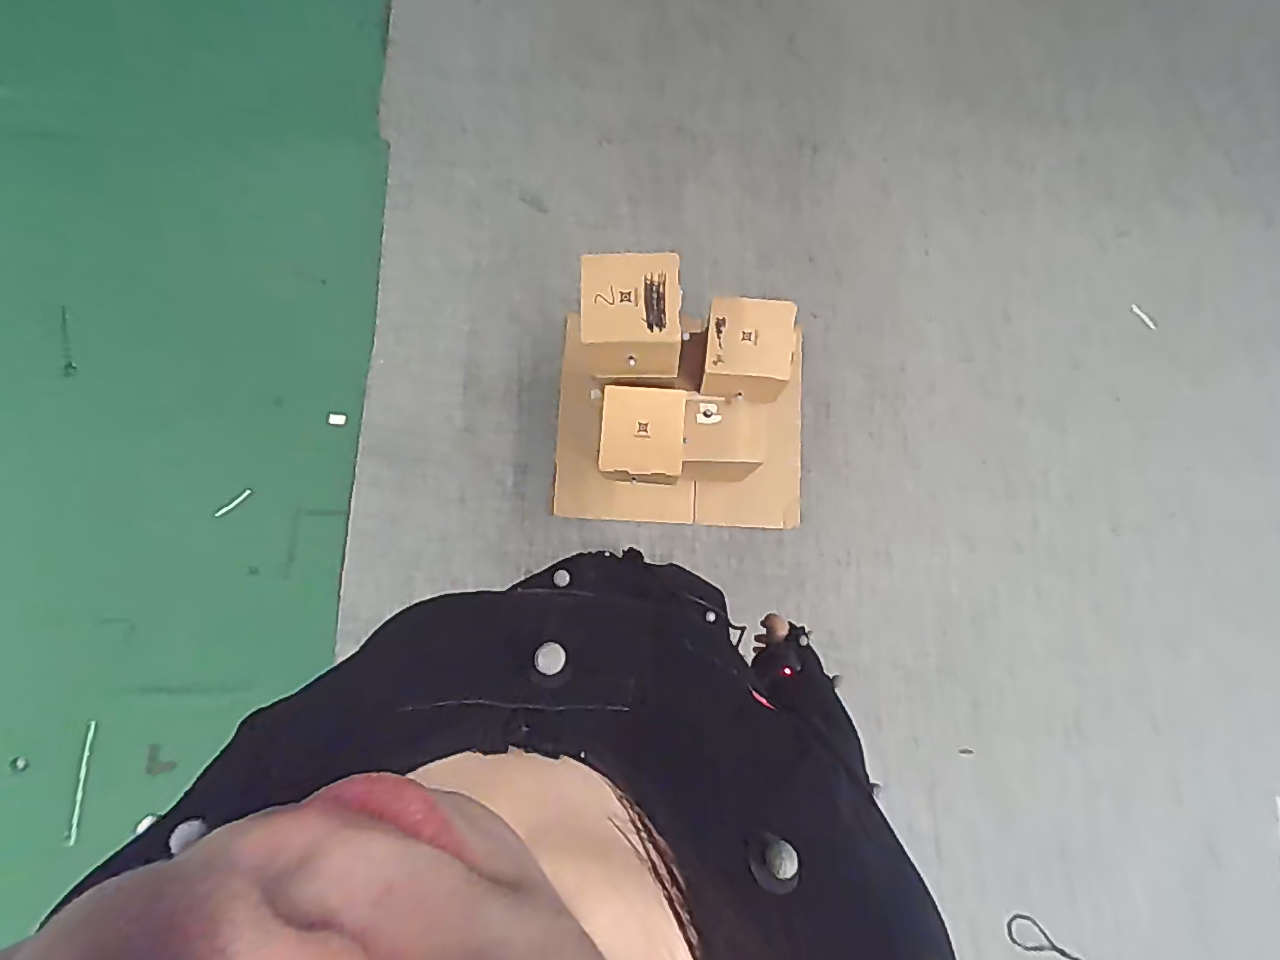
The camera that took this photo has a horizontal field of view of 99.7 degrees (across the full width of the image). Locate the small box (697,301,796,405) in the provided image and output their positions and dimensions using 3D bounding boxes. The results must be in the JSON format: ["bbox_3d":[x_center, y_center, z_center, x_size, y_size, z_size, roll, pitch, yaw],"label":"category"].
[{"bbox_3d":[0.224,-0.266,1.174,0.179,0.176,0.168,6,82,4],"label":"small box"}]

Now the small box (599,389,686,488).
[{"bbox_3d":[0.005,-0.082,1.151,0.168,0.176,0.179,4,84,1],"label":"small box"}]
